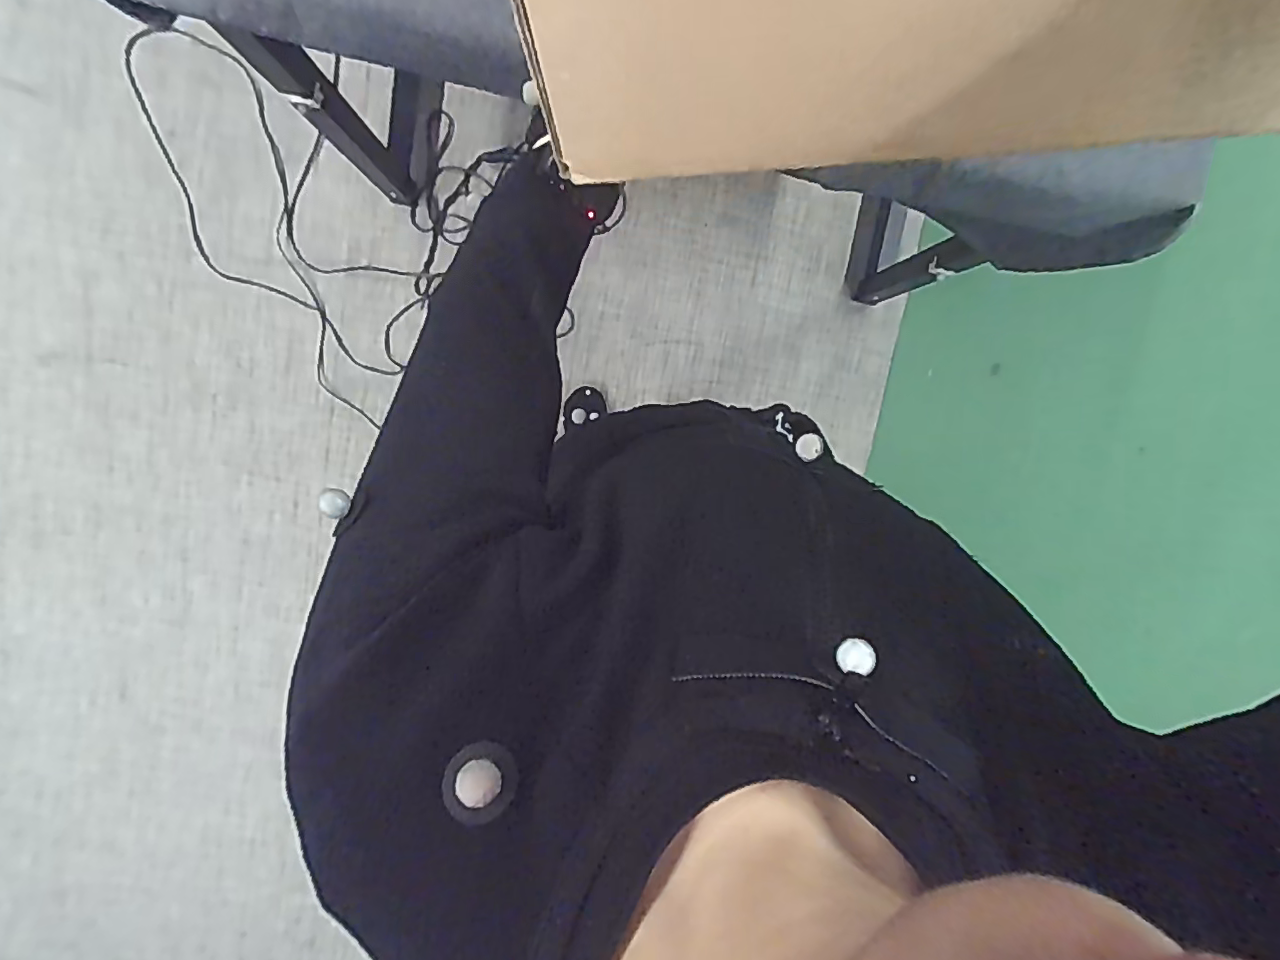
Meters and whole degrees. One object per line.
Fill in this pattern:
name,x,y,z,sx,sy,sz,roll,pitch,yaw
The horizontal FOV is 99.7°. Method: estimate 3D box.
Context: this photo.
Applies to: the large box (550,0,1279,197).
large box,0.159,-0.356,0.204,0.408,0.320,0.320,-1,57,10
